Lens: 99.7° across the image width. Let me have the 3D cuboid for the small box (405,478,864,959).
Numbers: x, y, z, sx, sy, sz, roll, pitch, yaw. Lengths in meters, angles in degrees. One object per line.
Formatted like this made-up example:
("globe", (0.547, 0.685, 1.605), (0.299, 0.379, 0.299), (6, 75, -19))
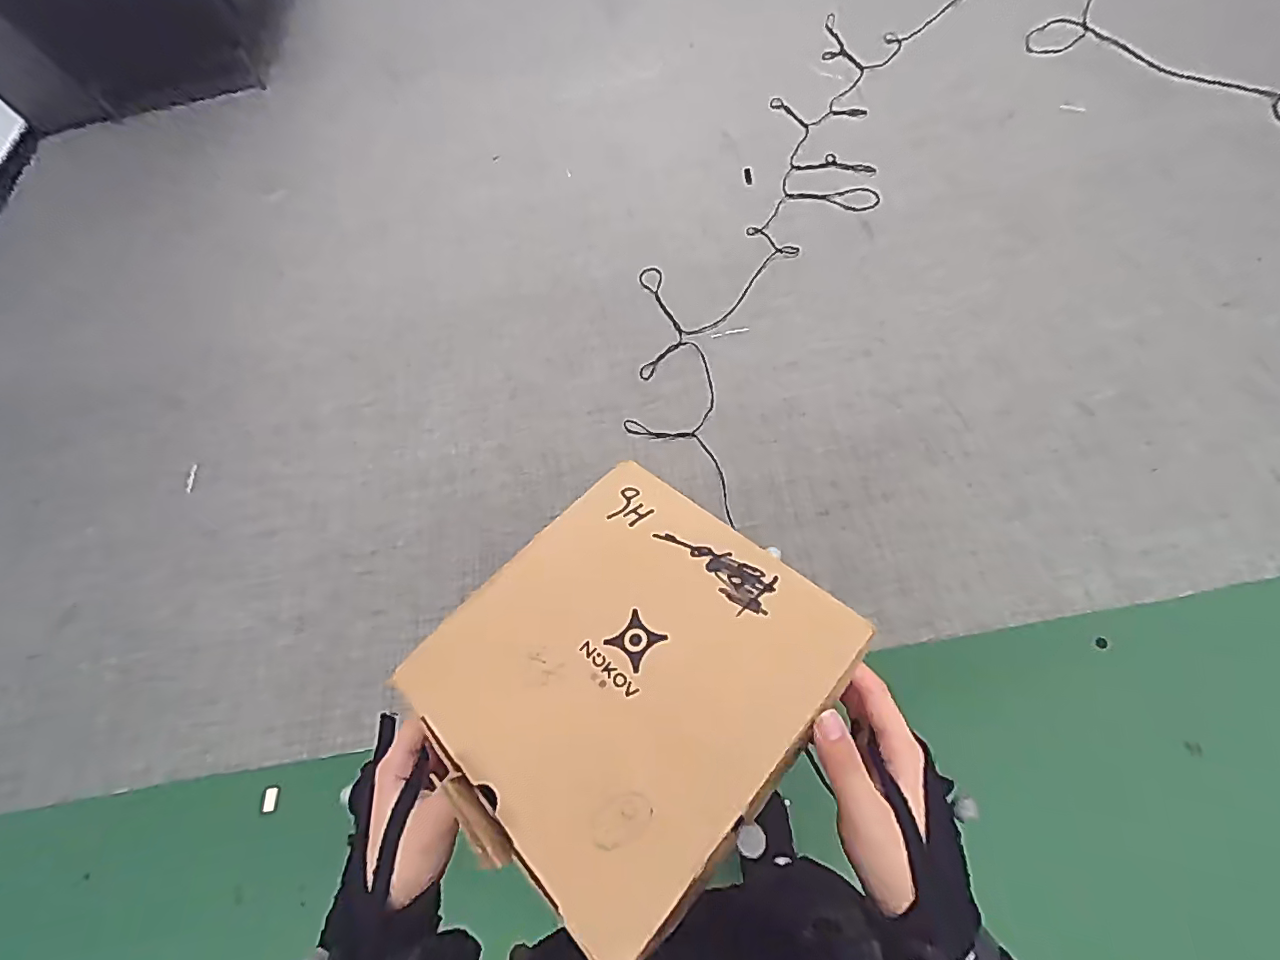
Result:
("small box", (0.006, 0.139, 0.329), (0.168, 0.176, 0.179), (35, 68, 30))
